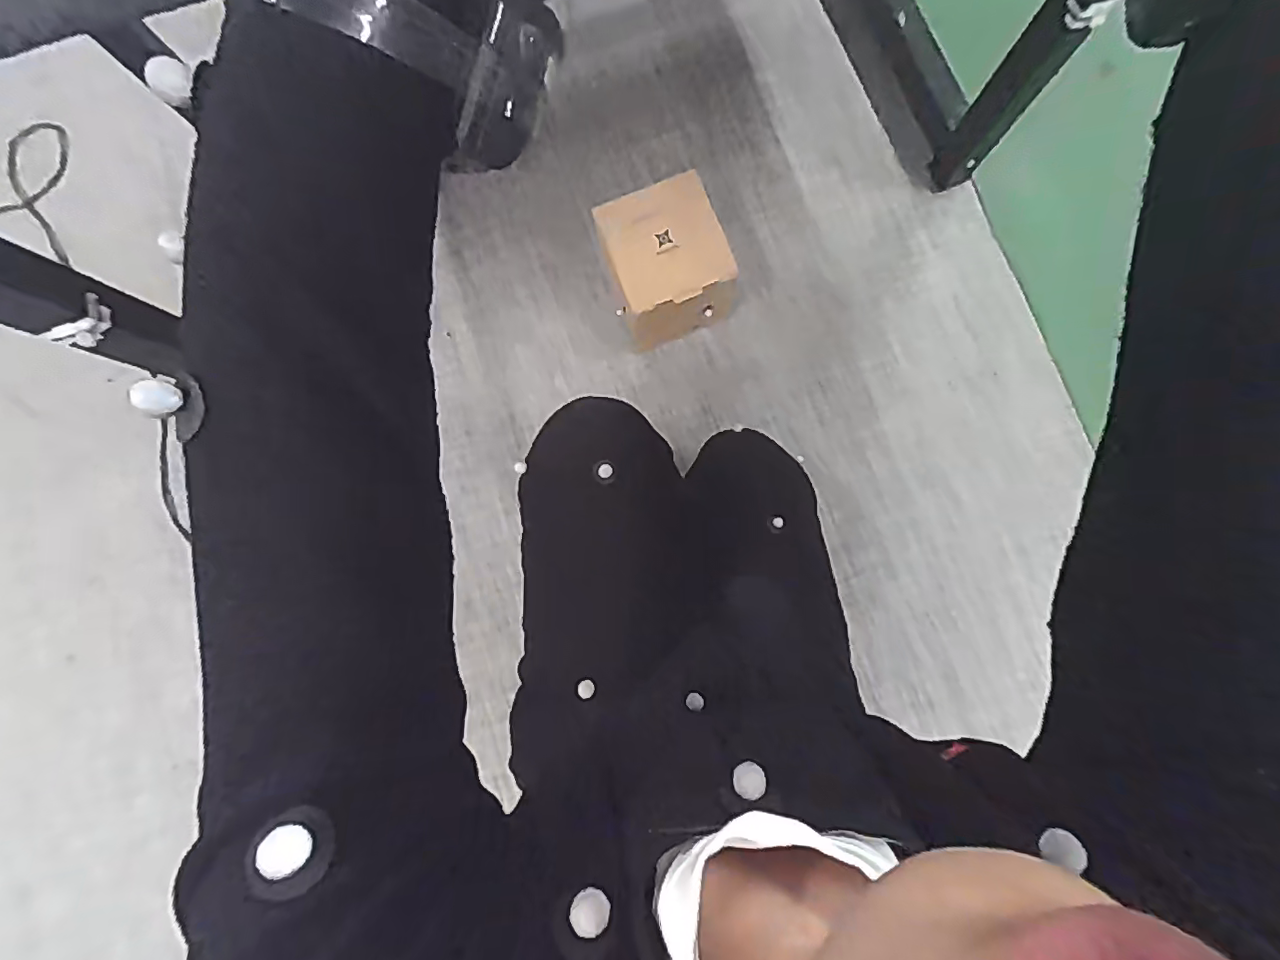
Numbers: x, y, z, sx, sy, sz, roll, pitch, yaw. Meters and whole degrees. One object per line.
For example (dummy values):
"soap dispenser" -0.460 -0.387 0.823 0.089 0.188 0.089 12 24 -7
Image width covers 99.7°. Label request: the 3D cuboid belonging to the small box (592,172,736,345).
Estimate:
"small box" 0.039 -0.336 0.863 0.168 0.176 0.179 -22 82 -1
